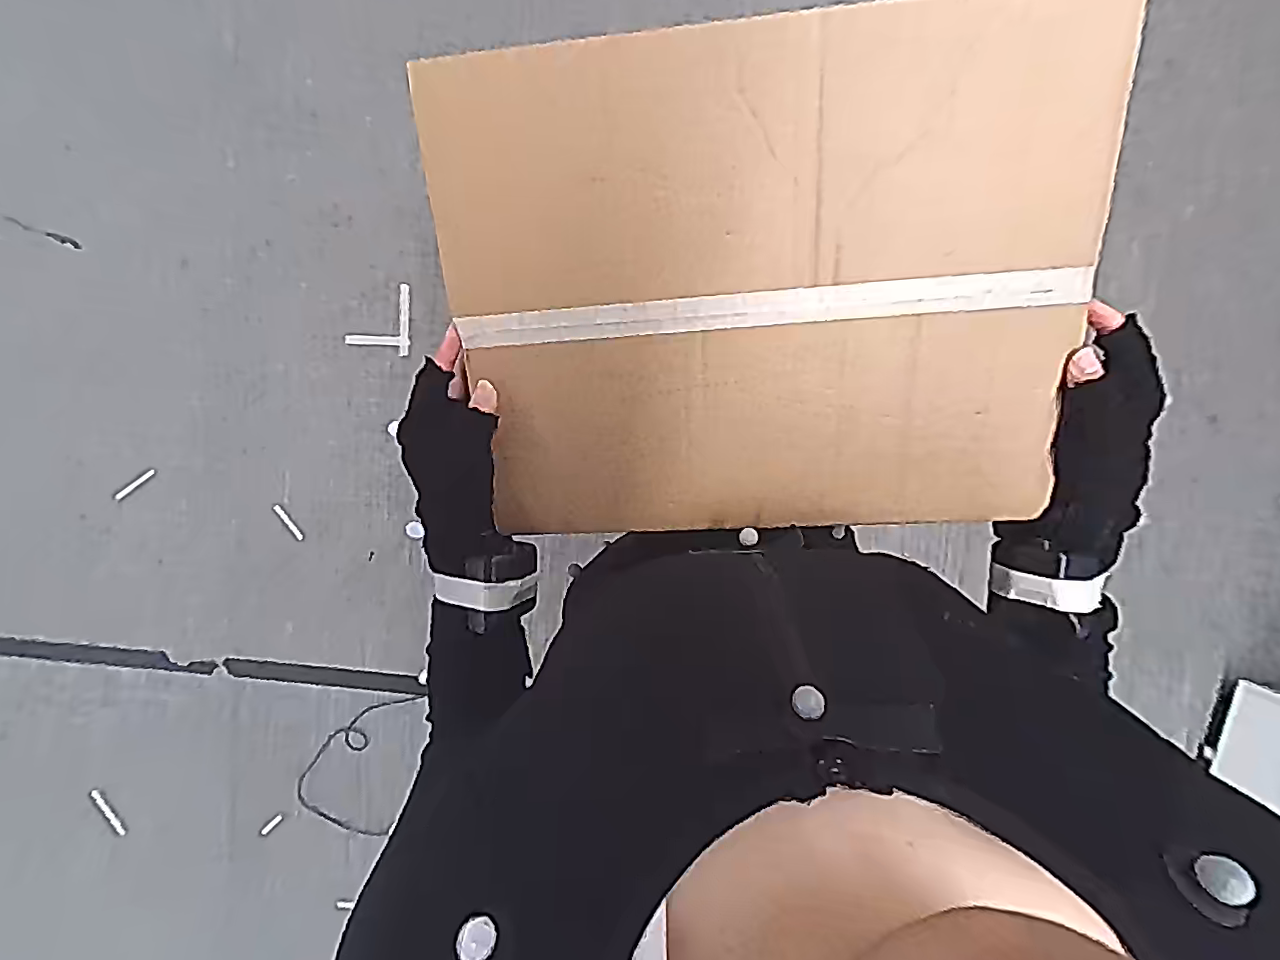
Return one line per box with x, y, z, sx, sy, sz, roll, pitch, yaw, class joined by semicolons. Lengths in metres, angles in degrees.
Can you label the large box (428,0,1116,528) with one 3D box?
0.086;-0.165;0.502;0.408;0.320;0.320;-2;111;6;large box
